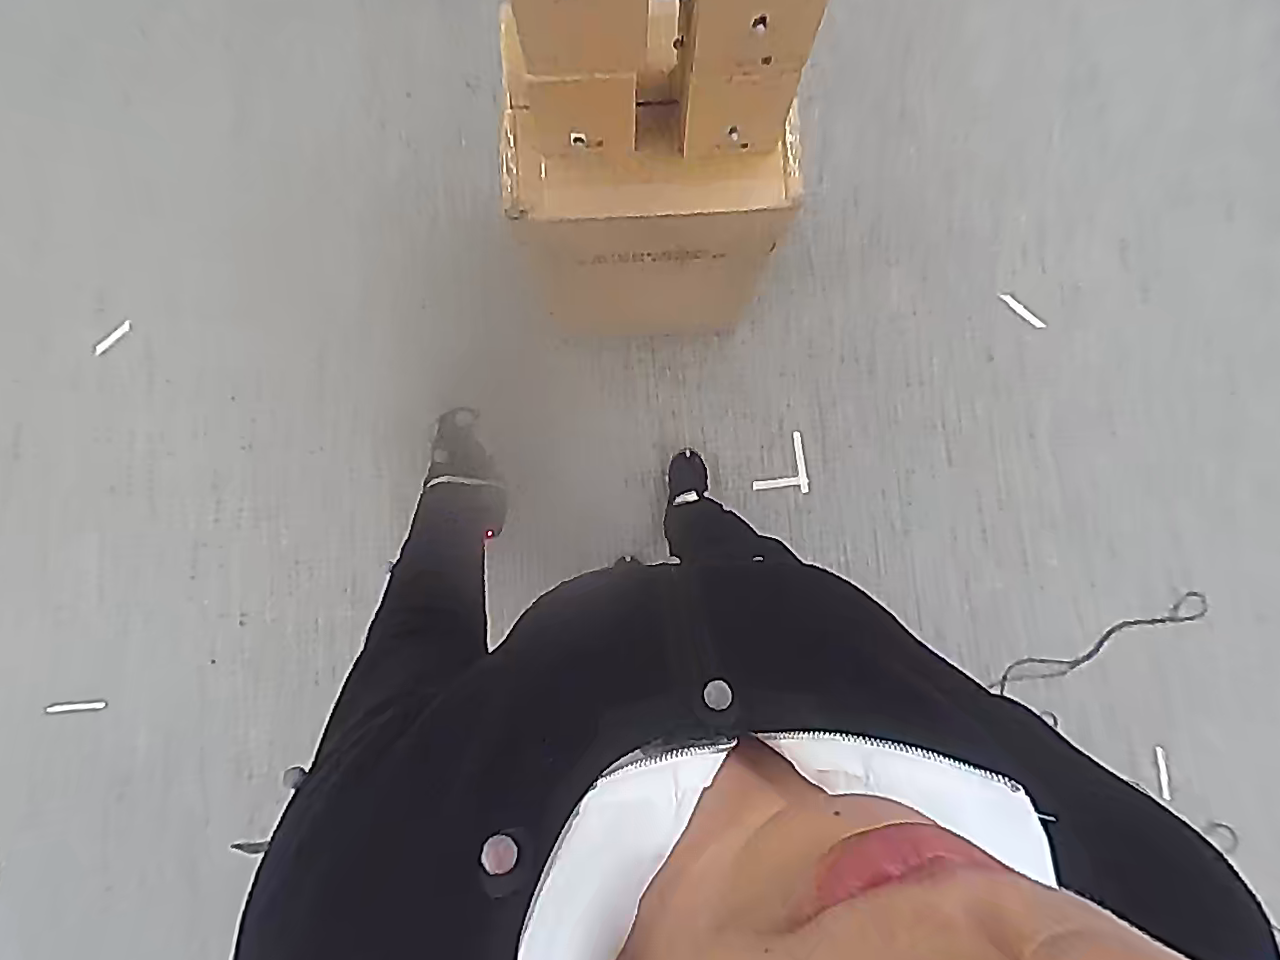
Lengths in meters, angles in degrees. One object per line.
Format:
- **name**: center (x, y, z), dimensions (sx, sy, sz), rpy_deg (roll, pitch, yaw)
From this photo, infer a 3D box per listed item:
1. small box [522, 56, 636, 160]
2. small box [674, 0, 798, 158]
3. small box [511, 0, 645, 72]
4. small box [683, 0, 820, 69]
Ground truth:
- **small box**: center (-0.095, -0.654, 0.869), dimensions (0.168, 0.176, 0.179), rpy_deg (-4, 86, -1)
- **small box**: center (0.145, -0.658, 0.870), dimensions (0.168, 0.176, 0.179), rpy_deg (-4, 86, 1)
- **small box**: center (-0.084, -0.674, 0.706), dimensions (0.179, 0.176, 0.168), rpy_deg (-4, 86, -2)
- **small box**: center (0.147, -0.677, 0.705), dimensions (0.168, 0.176, 0.179), rpy_deg (-3, 86, -1)
